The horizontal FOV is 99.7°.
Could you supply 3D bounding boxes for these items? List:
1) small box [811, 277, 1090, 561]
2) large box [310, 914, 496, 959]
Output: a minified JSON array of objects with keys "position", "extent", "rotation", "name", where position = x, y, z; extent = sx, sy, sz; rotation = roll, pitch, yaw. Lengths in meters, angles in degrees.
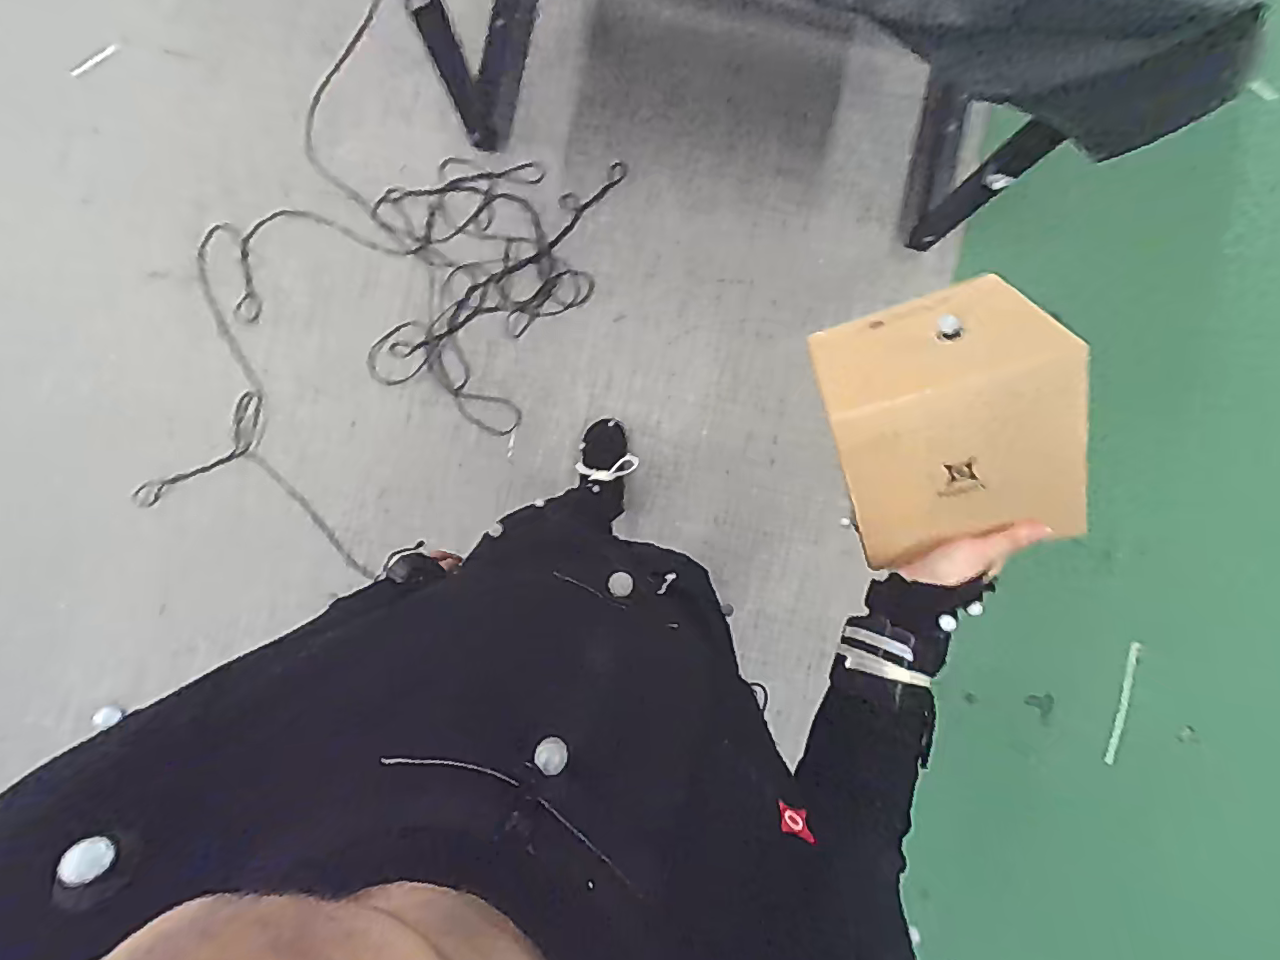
[{"position":[0.260,-0.061,0.482],"extent":[0.168,0.176,0.179],"rotation":[-16,122,20],"name":"small box"},{"position":[-0.573,1.254,1.195],"extent":[0.408,0.320,0.320],"rotation":[11,89,0],"name":"large box"}]
